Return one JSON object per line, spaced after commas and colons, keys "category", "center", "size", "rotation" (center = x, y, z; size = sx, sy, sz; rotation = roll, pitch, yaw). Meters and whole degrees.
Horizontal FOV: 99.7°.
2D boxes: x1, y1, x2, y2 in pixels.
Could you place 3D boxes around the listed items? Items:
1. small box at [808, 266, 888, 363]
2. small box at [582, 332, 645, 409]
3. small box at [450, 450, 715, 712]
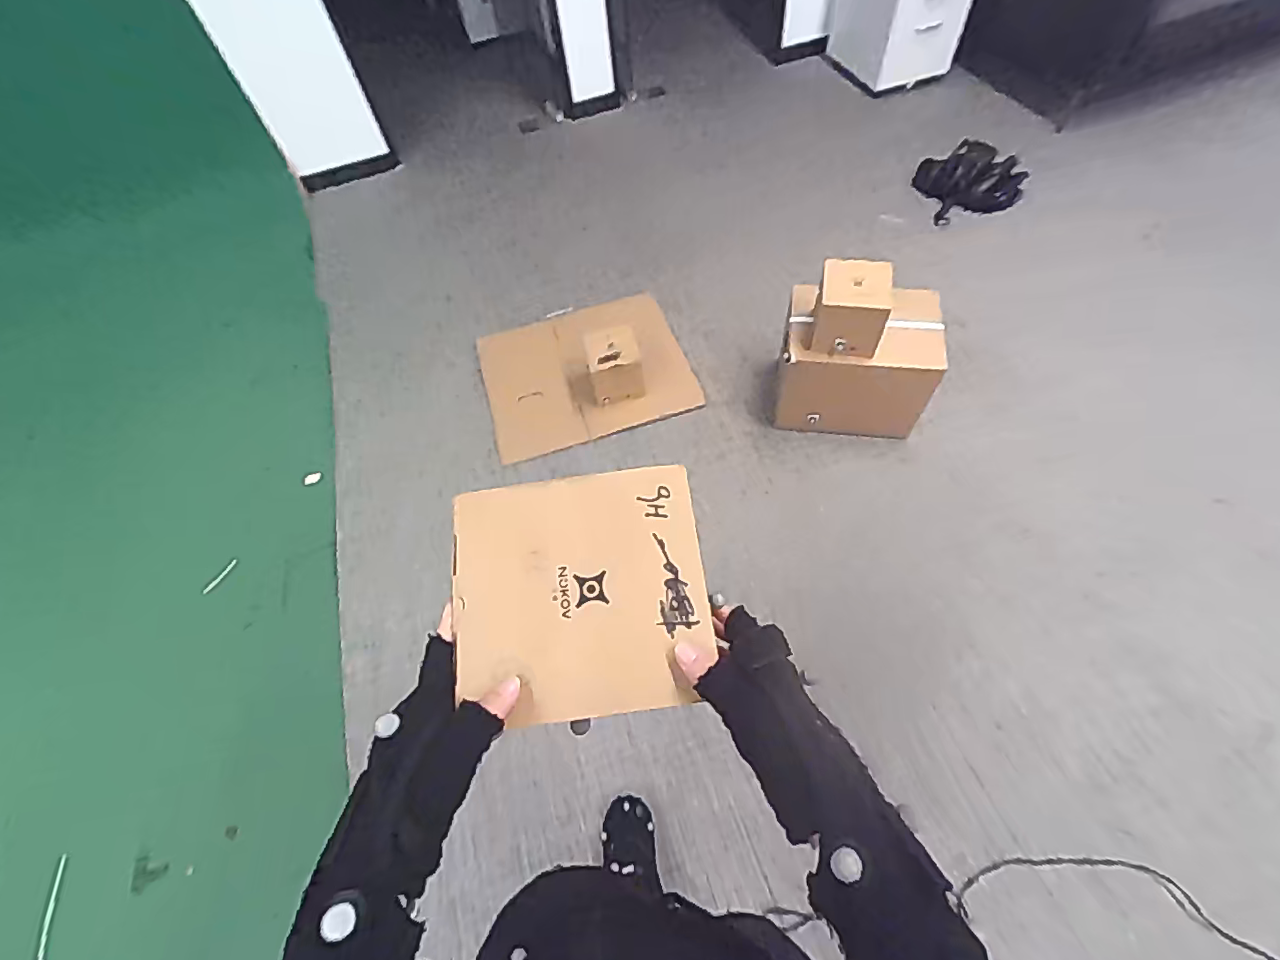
{"category": "small box", "center": [0.543, -0.435, 1.425], "size": [0.168, 0.176, 0.179], "rotation": [7, 60, 12]}
{"category": "small box", "center": [-0.086, -0.352, 1.786], "size": [0.168, 0.176, 0.179], "rotation": [-14, 56, -2]}
{"category": "small box", "center": [-0.043, 0.096, 0.457], "size": [0.179, 0.176, 0.168], "rotation": [-10, 68, -2]}
